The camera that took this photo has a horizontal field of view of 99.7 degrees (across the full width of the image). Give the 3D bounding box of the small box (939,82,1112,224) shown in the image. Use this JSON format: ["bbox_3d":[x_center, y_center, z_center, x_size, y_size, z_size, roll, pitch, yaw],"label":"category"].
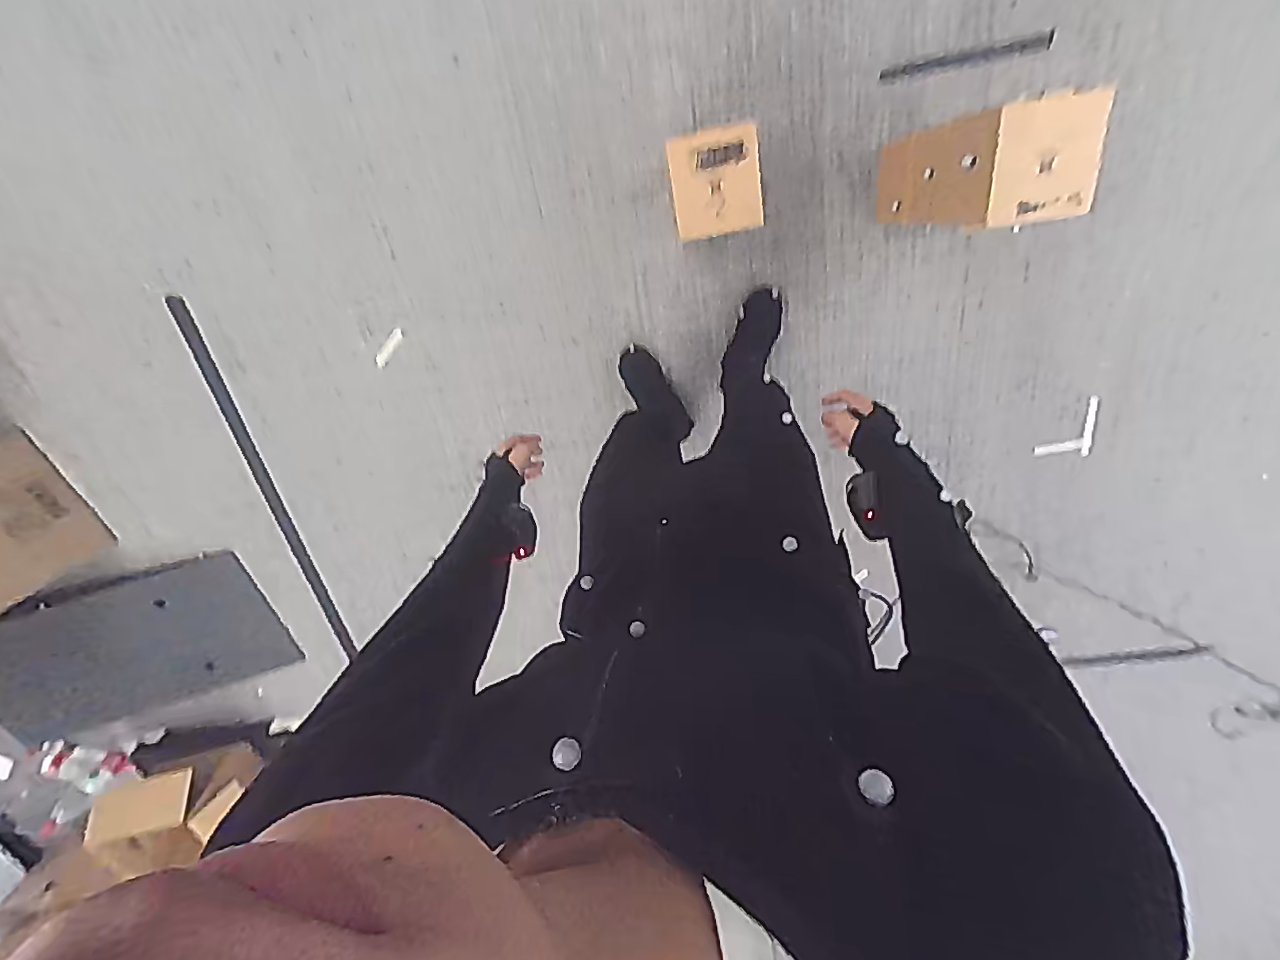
[{"bbox_3d":[0.633,-0.540,0.915,0.168,0.176,0.179,-6,115,4],"label":"small box"}]

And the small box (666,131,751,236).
[{"bbox_3d":[0.151,-0.664,1.229,0.168,0.176,0.179,-9,115,6],"label":"small box"}]

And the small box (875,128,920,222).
[{"bbox_3d":[0.644,-0.683,1.211,0.168,0.176,0.179,-6,116,3],"label":"small box"}]

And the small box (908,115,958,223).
[{"bbox_3d":[0.649,-0.613,1.063,0.168,0.176,0.179,-6,115,3],"label":"small box"}]
